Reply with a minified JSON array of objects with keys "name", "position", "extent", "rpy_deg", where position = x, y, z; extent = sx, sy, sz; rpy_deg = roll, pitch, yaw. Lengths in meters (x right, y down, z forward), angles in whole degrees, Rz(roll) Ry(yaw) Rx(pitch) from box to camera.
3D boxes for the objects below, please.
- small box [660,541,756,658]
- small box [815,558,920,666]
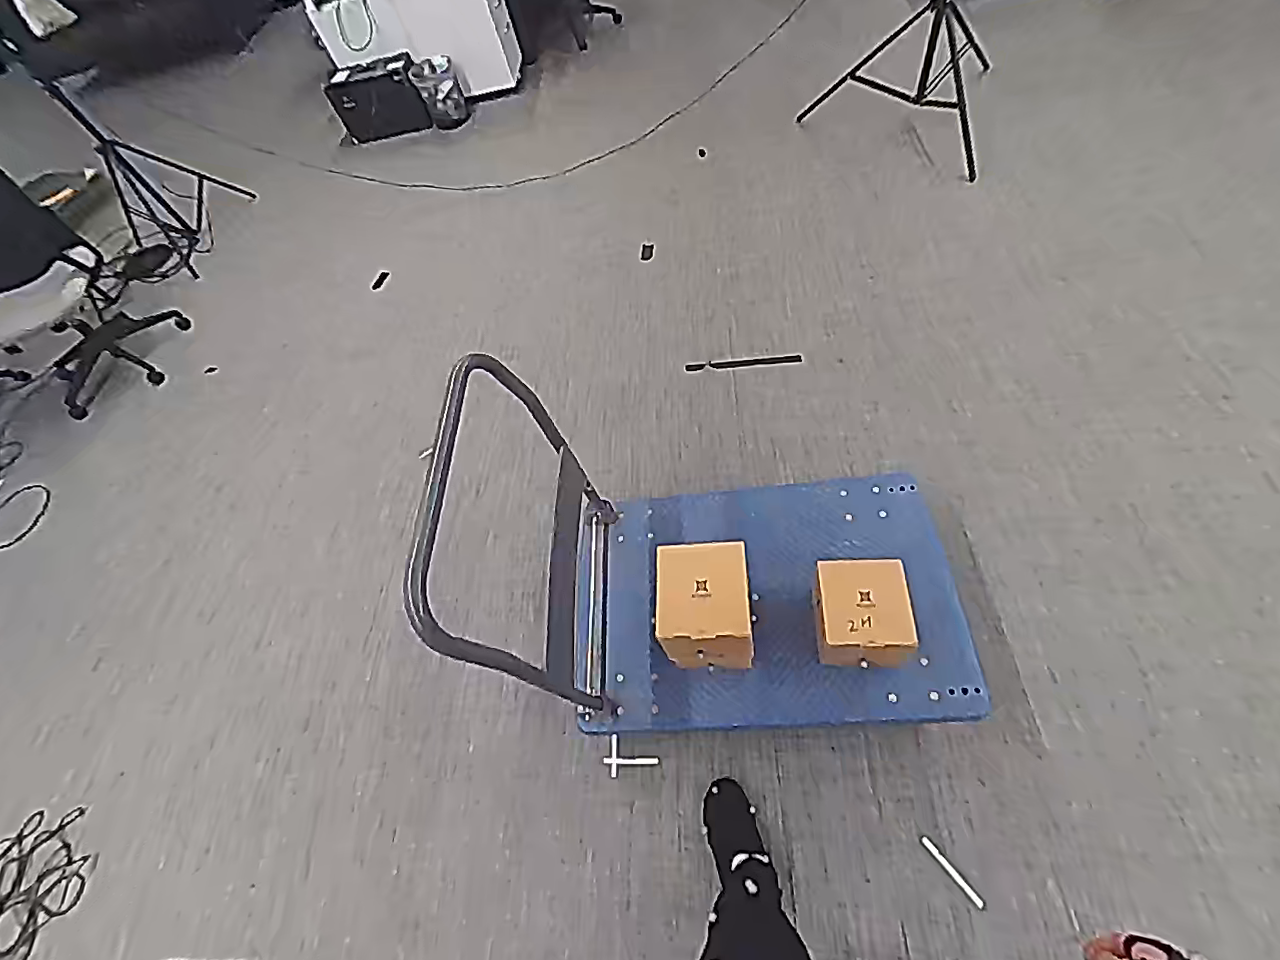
[{"name":"small box","position":[0.132,0.233,1.039],"extent":[0.168,0.176,0.179],"rpy_deg":[-5,59,10]},{"name":"small box","position":[0.464,0.278,1.132],"extent":[0.168,0.176,0.179],"rpy_deg":[-3,58,12]}]
